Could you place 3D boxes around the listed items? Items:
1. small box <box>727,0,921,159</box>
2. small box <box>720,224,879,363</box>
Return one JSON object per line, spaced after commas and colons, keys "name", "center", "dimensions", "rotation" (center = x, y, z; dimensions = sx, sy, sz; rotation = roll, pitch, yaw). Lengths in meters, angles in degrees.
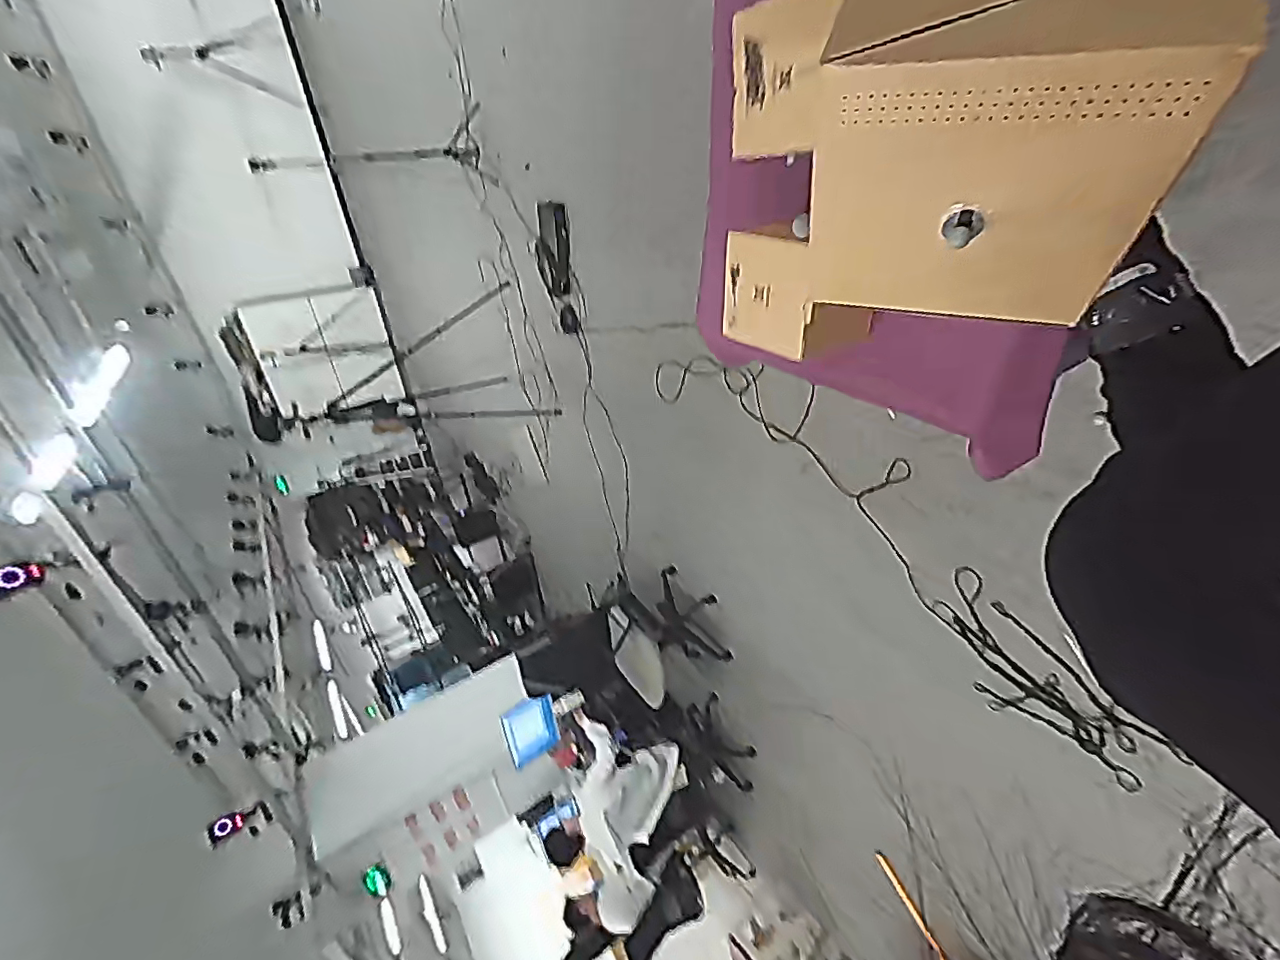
{"name": "small box", "center": [0.237, -0.534, 0.723], "dimensions": [0.179, 0.176, 0.168], "rotation": [30, 135, 48]}
{"name": "small box", "center": [0.251, -0.307, 0.866], "dimensions": [0.179, 0.176, 0.168], "rotation": [35, 139, 43]}
